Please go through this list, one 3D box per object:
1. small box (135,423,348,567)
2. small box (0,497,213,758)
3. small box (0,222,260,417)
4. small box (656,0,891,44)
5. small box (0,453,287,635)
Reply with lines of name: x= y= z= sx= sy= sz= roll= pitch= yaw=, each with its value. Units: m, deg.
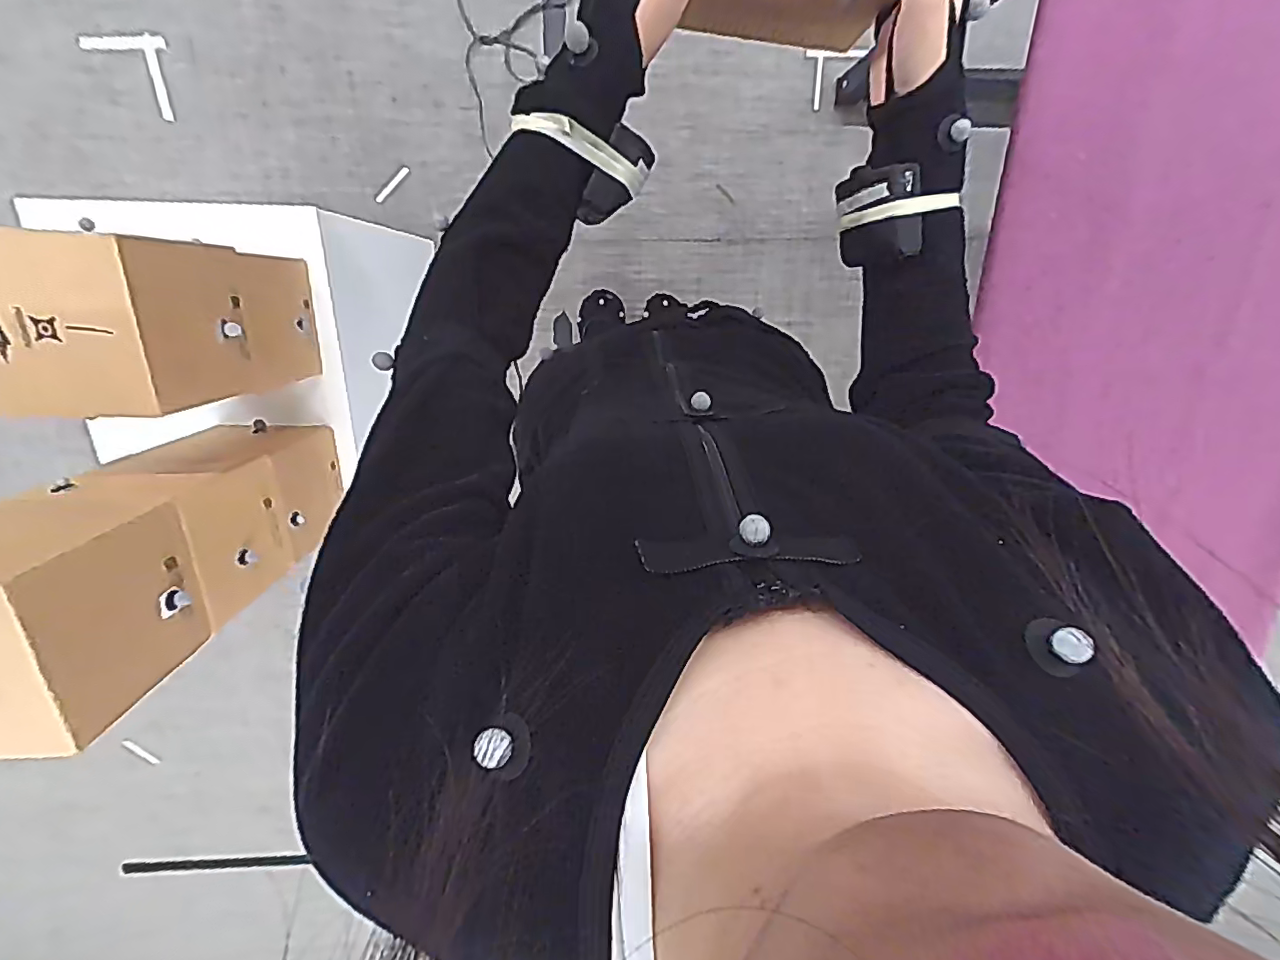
small box: x=-0.565 y=0.015 z=0.794 sx=0.179 sy=0.176 sz=0.168 roll=0 pitch=109 yaw=-3
small box: x=-0.546 y=0.120 z=0.486 sx=0.179 sy=0.176 sz=0.168 roll=-2 pitch=110 yaw=-3
small box: x=-0.541 y=-0.166 z=0.556 sx=0.179 sy=0.176 sz=0.168 roll=1 pitch=110 yaw=-5
small box: x=0.109 y=-0.428 z=0.361 sx=0.179 sy=0.176 sz=0.168 roll=6 pitch=110 yaw=-3
small box: x=-0.554 y=0.068 z=0.640 sx=0.179 sy=0.176 sz=0.168 roll=-1 pitch=109 yaw=-3
